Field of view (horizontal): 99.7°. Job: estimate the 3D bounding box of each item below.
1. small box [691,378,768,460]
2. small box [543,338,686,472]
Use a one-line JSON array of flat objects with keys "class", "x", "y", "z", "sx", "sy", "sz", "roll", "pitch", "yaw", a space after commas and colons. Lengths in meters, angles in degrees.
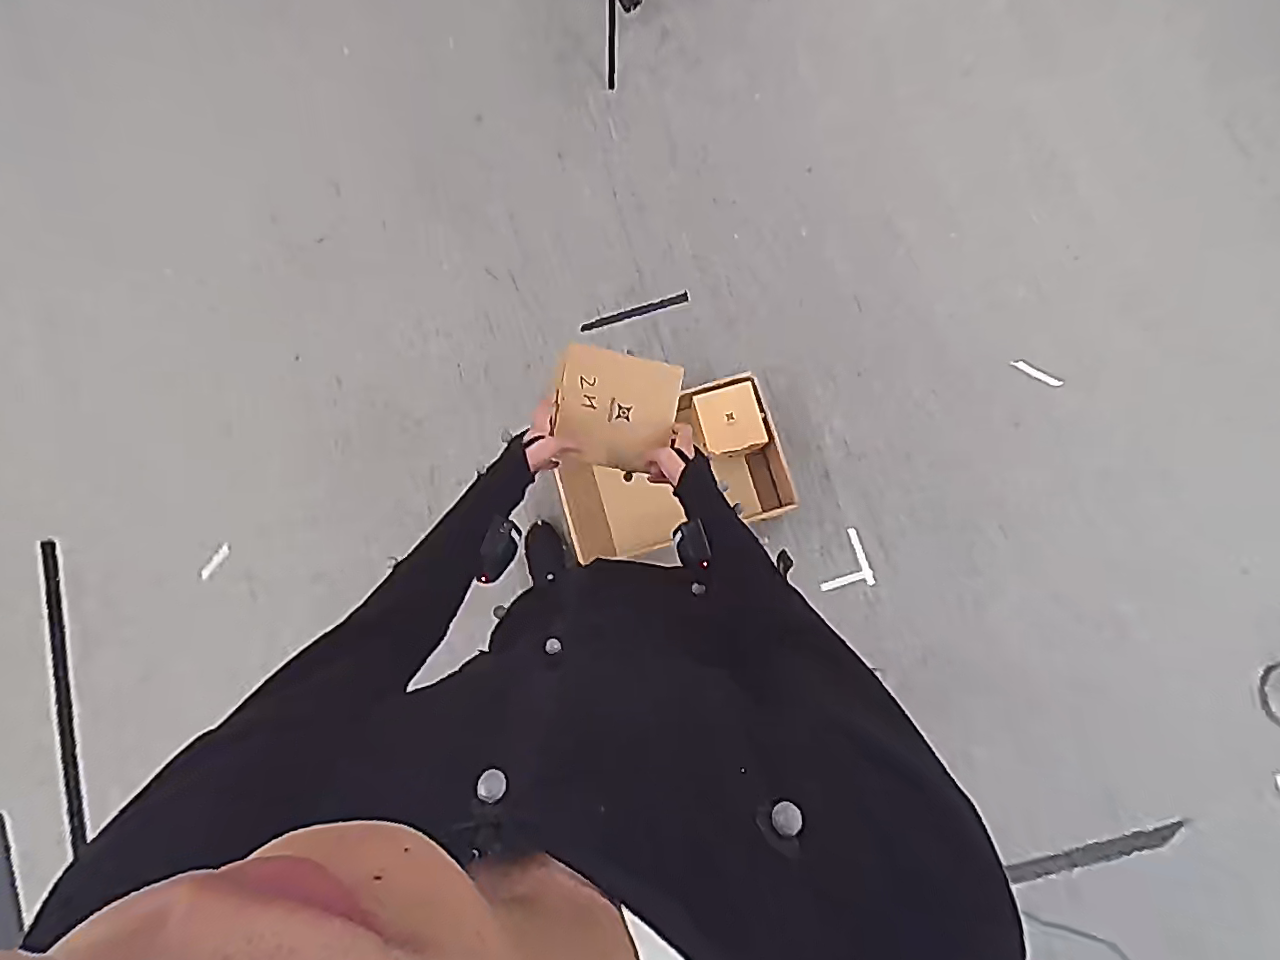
[{"class": "small box", "x": 0.247, "y": -0.169, "z": 1.543, "sx": 0.168, "sy": 0.176, "sz": 0.179, "roll": -15, "pitch": 85, "yaw": 1}, {"class": "small box", "x": -0.048, "y": -0.113, "z": 0.849, "sx": 0.179, "sy": 0.176, "sz": 0.168, "roll": 10, "pitch": 93, "yaw": -14}]
